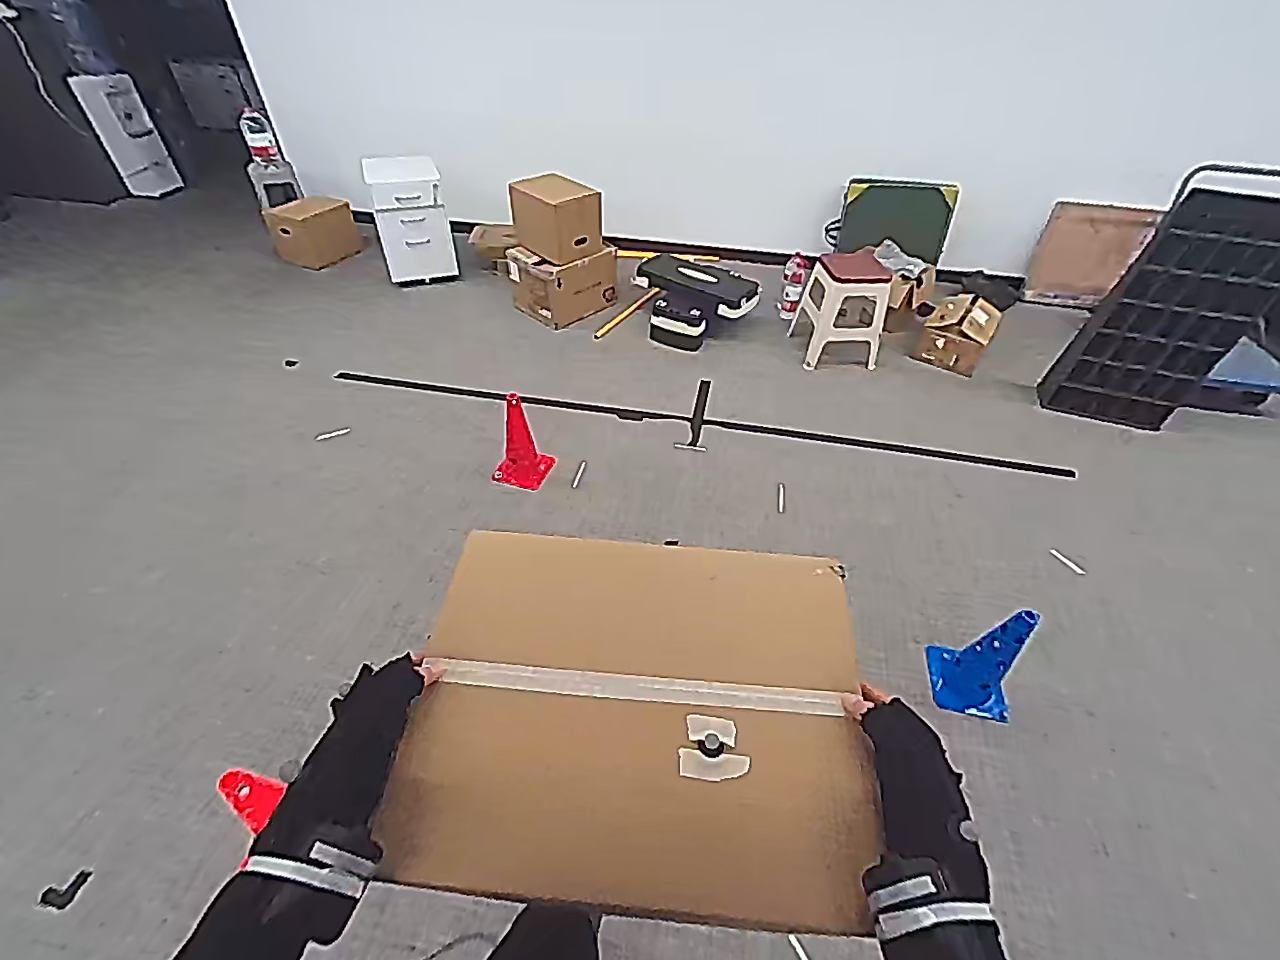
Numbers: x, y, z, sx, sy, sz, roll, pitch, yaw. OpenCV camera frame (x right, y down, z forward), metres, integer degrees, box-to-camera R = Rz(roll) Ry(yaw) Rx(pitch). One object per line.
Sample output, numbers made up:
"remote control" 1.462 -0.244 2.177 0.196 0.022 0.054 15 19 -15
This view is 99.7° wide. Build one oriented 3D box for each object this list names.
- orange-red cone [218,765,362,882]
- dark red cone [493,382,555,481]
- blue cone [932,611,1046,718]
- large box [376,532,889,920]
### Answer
"orange-red cone" -0.777 0.684 1.141 0.198 0.360 0.199 7 45 6
"dark red cone" -0.451 -0.196 2.042 0.201 0.394 0.202 14 45 10
"blue cone" 0.969 0.472 1.471 0.192 0.380 0.193 12 45 8
"large box" -0.001 0.284 0.618 0.408 0.320 0.320 5 51 3
